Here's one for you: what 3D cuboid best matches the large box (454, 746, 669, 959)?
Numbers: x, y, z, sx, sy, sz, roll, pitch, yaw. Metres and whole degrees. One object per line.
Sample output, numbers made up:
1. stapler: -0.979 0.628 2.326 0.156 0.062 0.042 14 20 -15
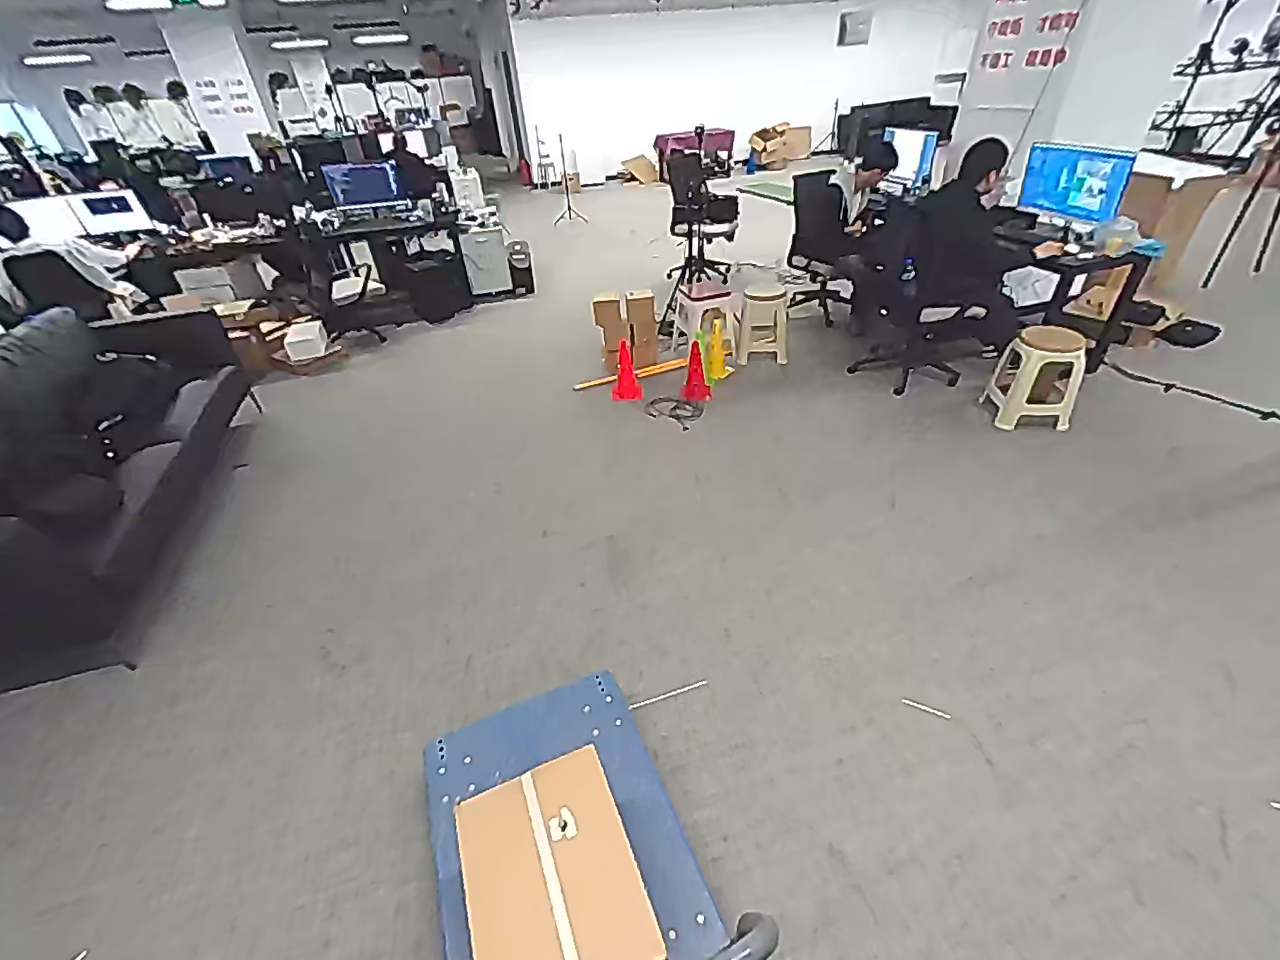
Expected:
1. large box: -0.158 0.860 1.108 0.320 0.320 0.408 -17 38 -16
